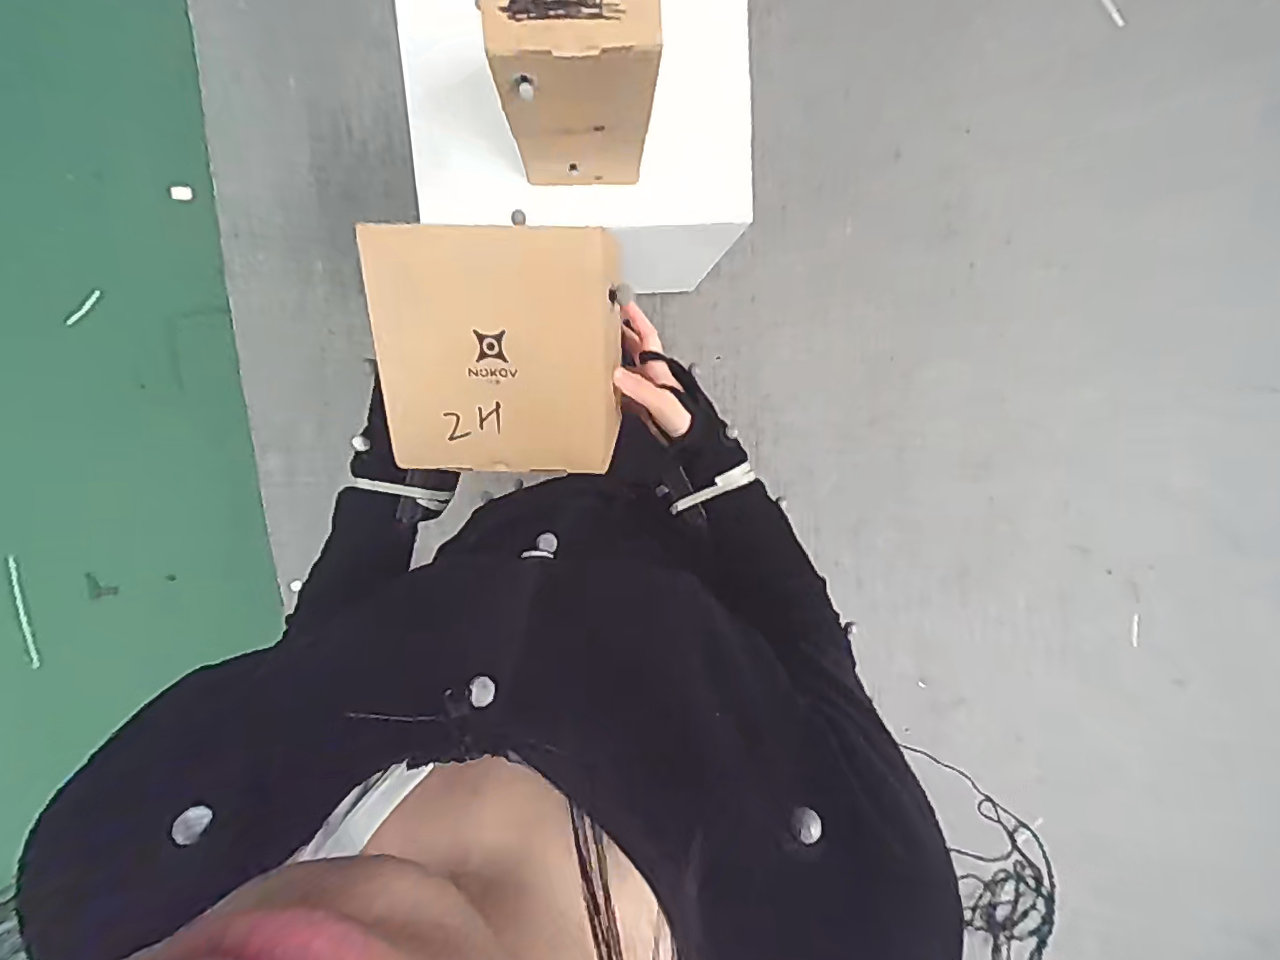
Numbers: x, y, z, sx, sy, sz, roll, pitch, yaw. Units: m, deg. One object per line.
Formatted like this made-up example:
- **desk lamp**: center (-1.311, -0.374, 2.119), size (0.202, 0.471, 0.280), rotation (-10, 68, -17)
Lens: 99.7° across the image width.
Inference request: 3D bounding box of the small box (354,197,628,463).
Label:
- **small box**: center (-0.098, -0.124, 0.443), size (0.168, 0.176, 0.179), rotation (1, 112, 2)

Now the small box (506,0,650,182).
- **small box**: center (-0.079, -0.519, 0.710), size (0.168, 0.176, 0.179), rotation (-4, 98, -4)
